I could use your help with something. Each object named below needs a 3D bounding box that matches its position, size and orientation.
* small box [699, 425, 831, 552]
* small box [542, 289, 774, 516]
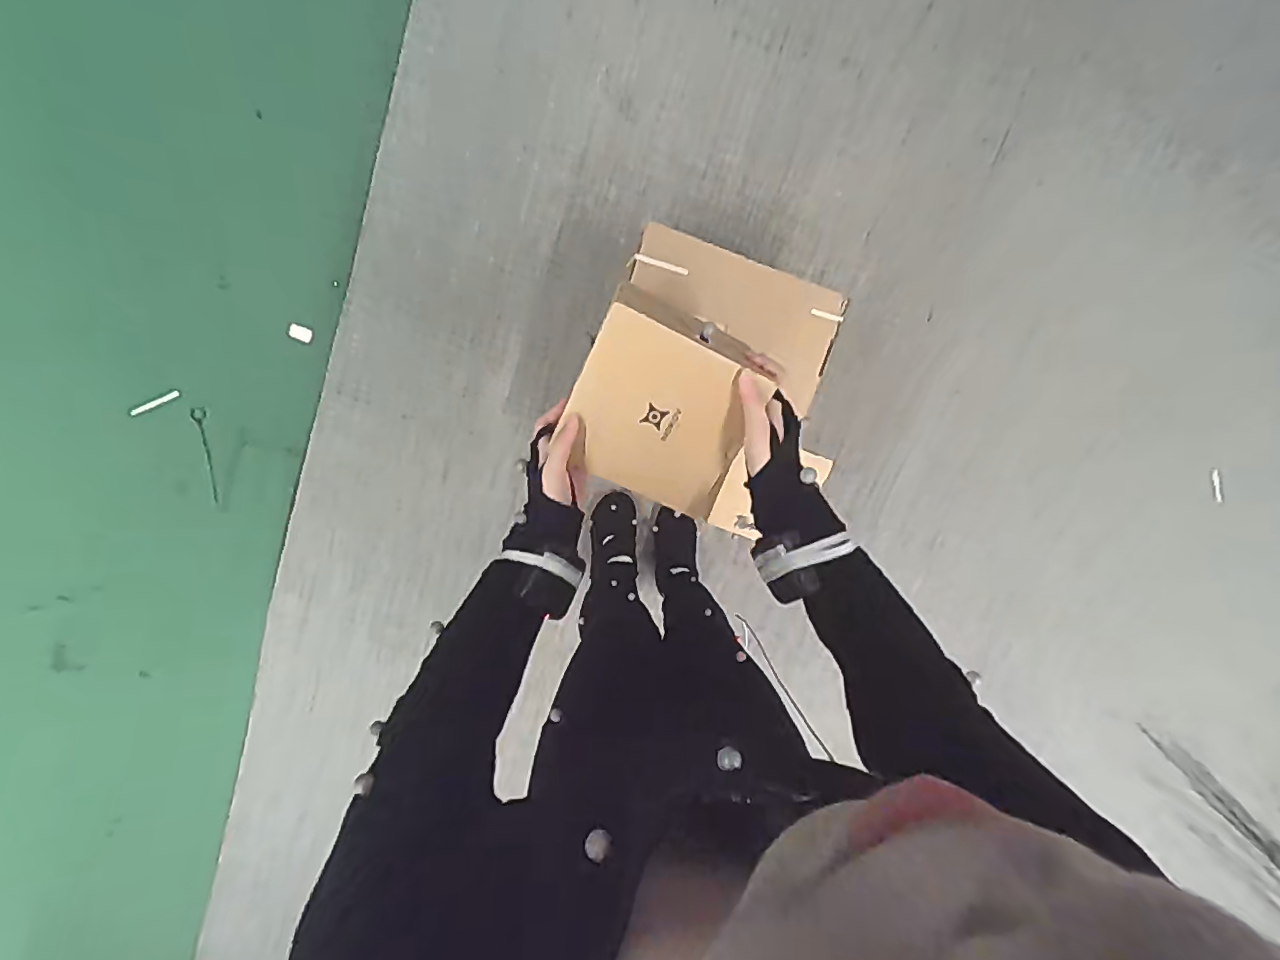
[{"bbox_3d":[0.206,0.003,0.977,0.168,0.176,0.179,21,97,-8],"label":"small box"},{"bbox_3d":[0.014,-0.094,0.594,0.179,0.176,0.168,24,114,-12],"label":"small box"}]
